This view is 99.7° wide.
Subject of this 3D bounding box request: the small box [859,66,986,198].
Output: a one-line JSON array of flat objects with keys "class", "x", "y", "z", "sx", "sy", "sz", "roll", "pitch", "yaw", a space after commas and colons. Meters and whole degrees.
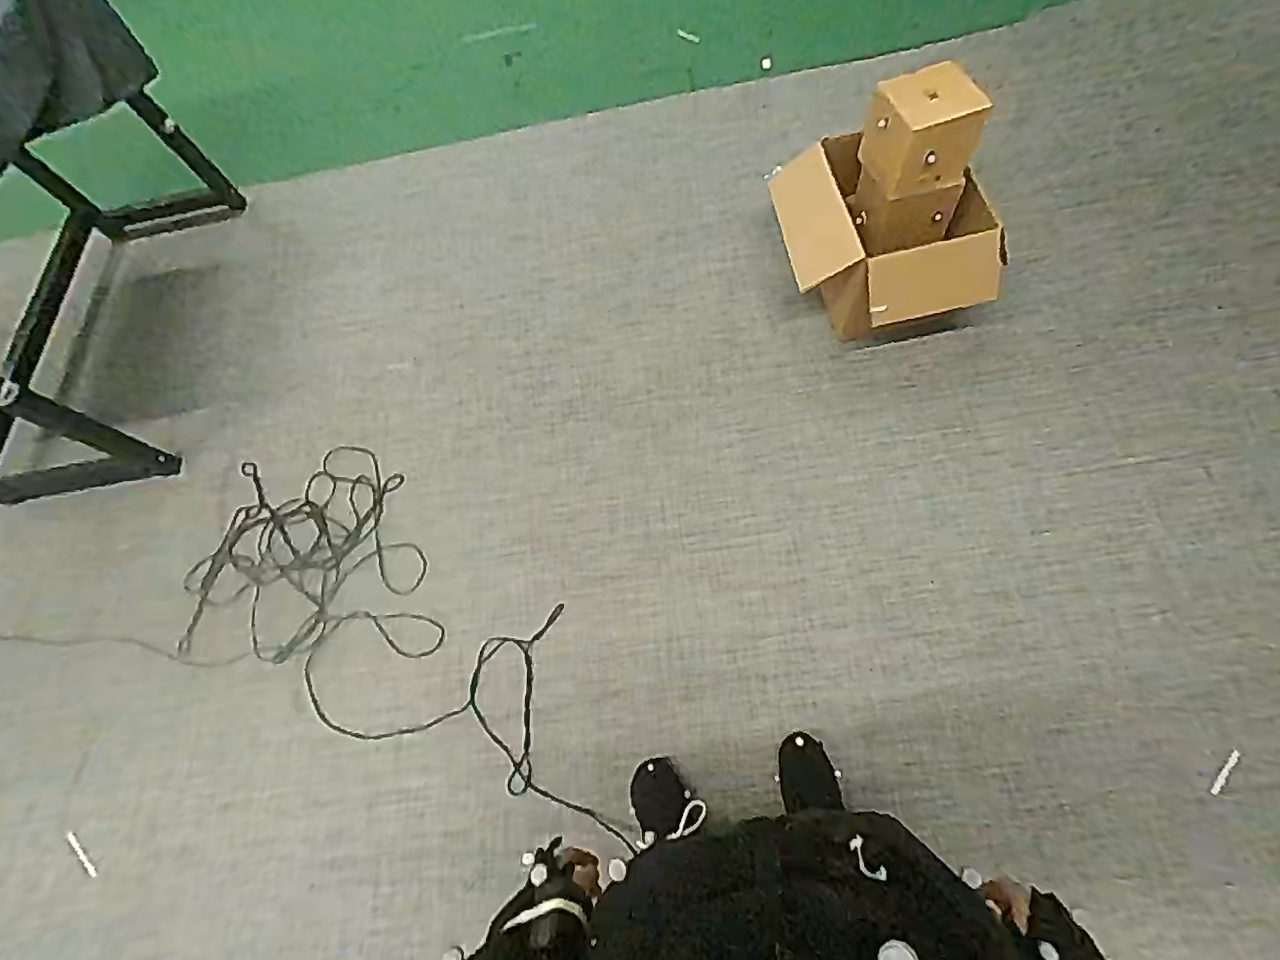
[{"class": "small box", "x": 0.607, "y": -0.751, "z": 1.188, "sx": 0.168, "sy": 0.176, "sz": 0.179, "roll": -17, "pitch": 64, "yaw": 1}]
